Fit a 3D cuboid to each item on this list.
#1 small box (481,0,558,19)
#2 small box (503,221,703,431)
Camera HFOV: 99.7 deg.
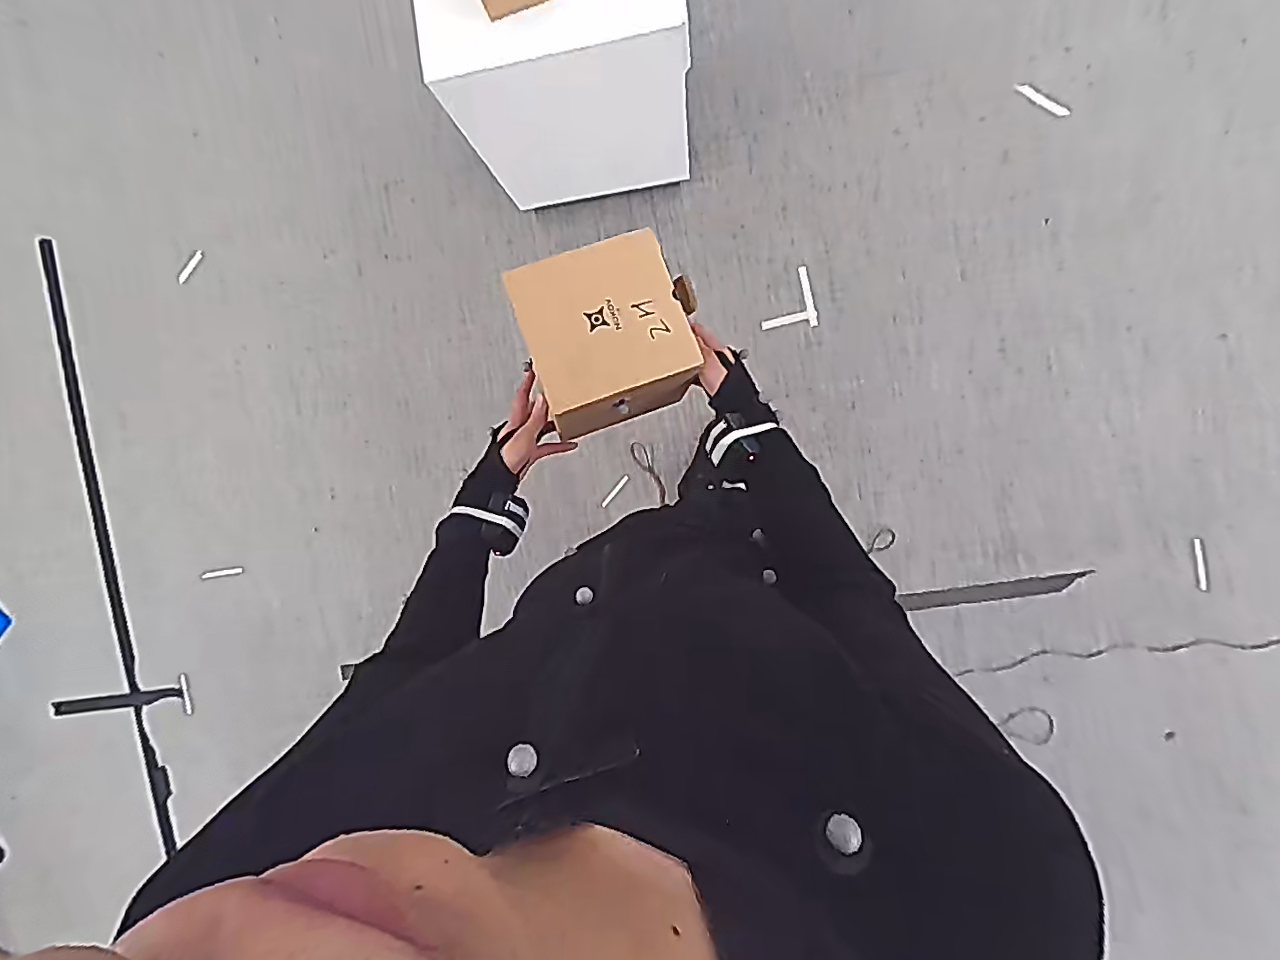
[{"bbox_3d":[-0.230,-0.966,0.943,0.179,0.176,0.168,-14,91,6],"label":"small box"},{"bbox_3d":[-0.045,-0.171,0.655,0.179,0.176,0.168,-20,87,-7],"label":"small box"}]
